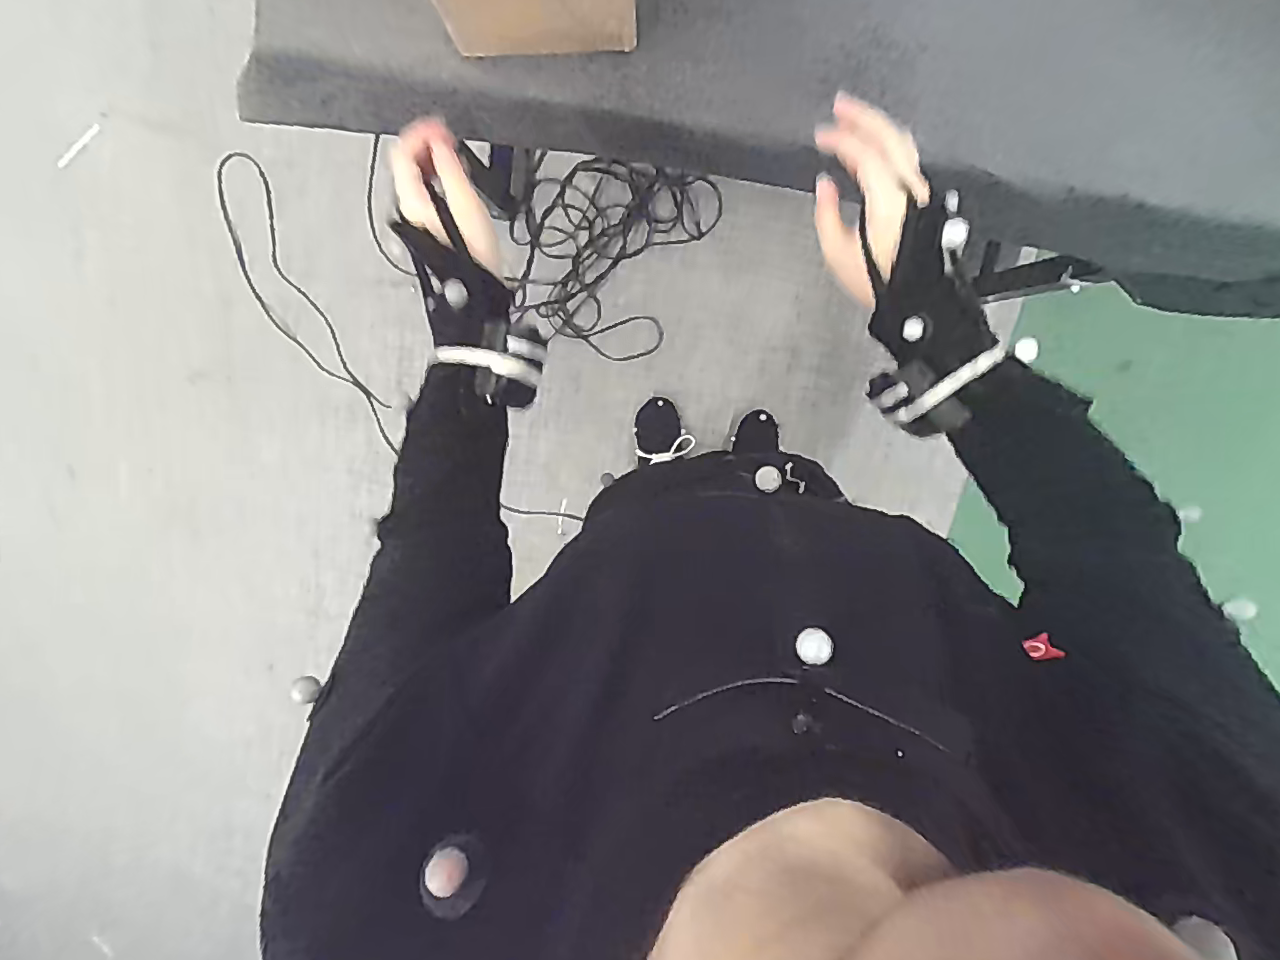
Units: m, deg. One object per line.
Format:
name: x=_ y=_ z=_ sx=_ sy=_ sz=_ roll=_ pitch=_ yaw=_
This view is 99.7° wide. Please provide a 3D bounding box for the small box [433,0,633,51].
small box: x=-0.093 y=-0.487 z=0.439 sx=0.179 sy=0.176 sz=0.168 roll=-1 pitch=101 yaw=1
